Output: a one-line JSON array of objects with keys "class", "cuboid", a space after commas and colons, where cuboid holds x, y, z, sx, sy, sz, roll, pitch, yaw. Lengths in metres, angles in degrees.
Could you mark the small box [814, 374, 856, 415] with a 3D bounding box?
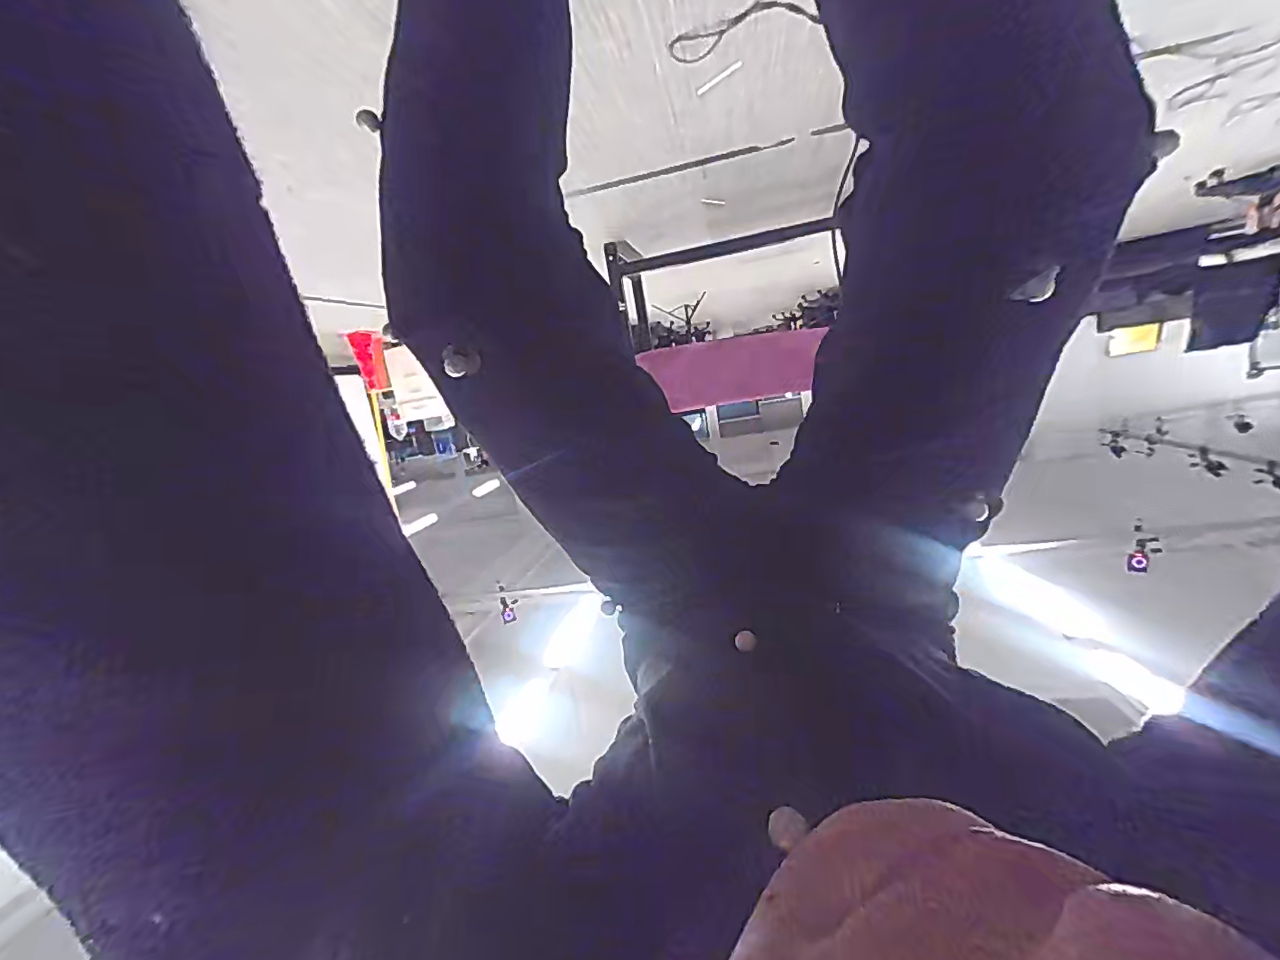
[{"class": "small box", "cuboid": [0.917, -0.401, 2.519, 0.179, 0.176, 0.168, -7, -169, 14]}]
